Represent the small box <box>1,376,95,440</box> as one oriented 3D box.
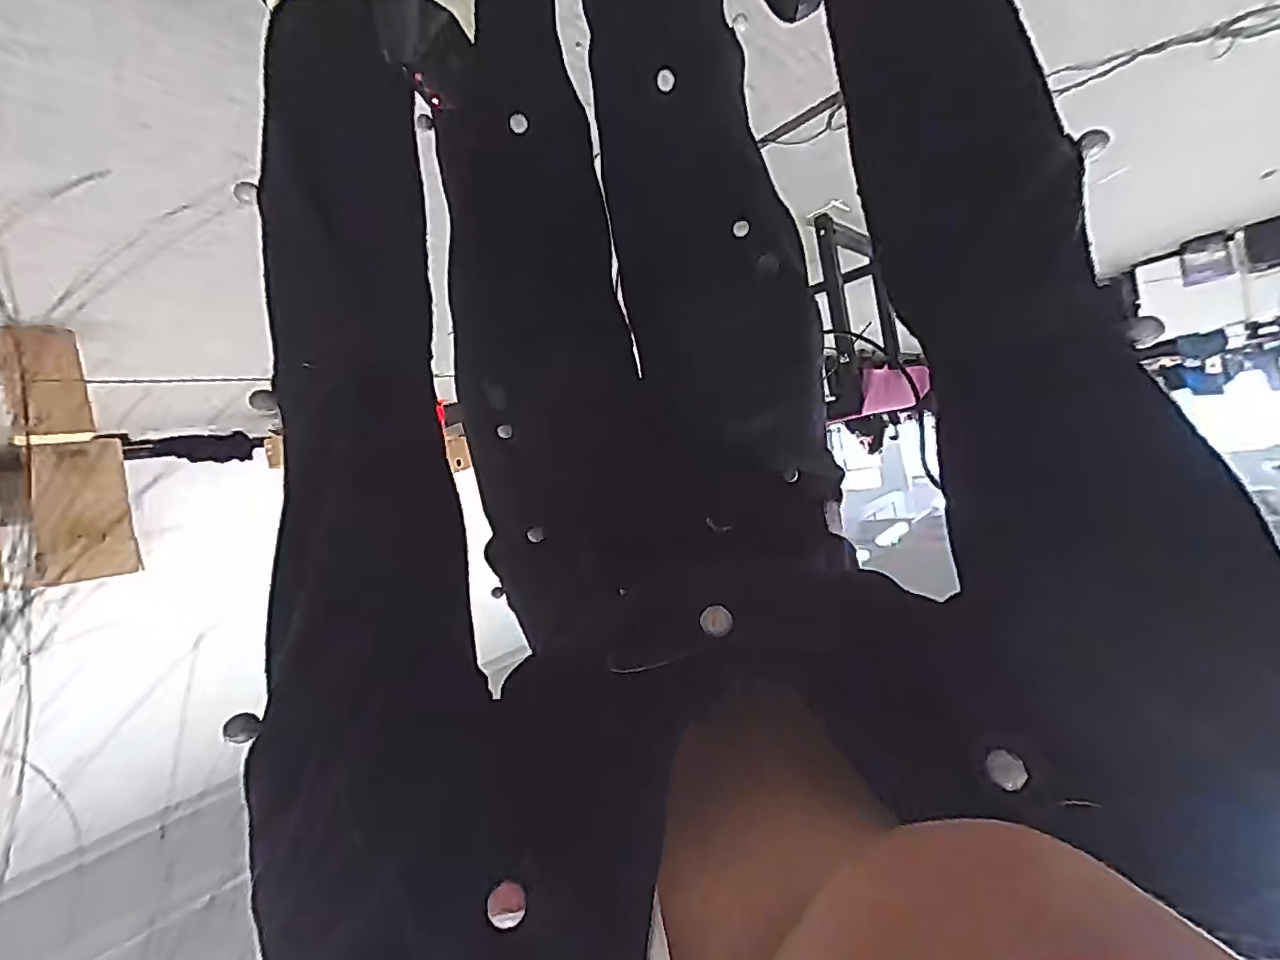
[{"bbox_3d":[-1.877,-0.230,1.712,0.168,0.176,0.179,-8,-176,39],"label":"small box"}]
